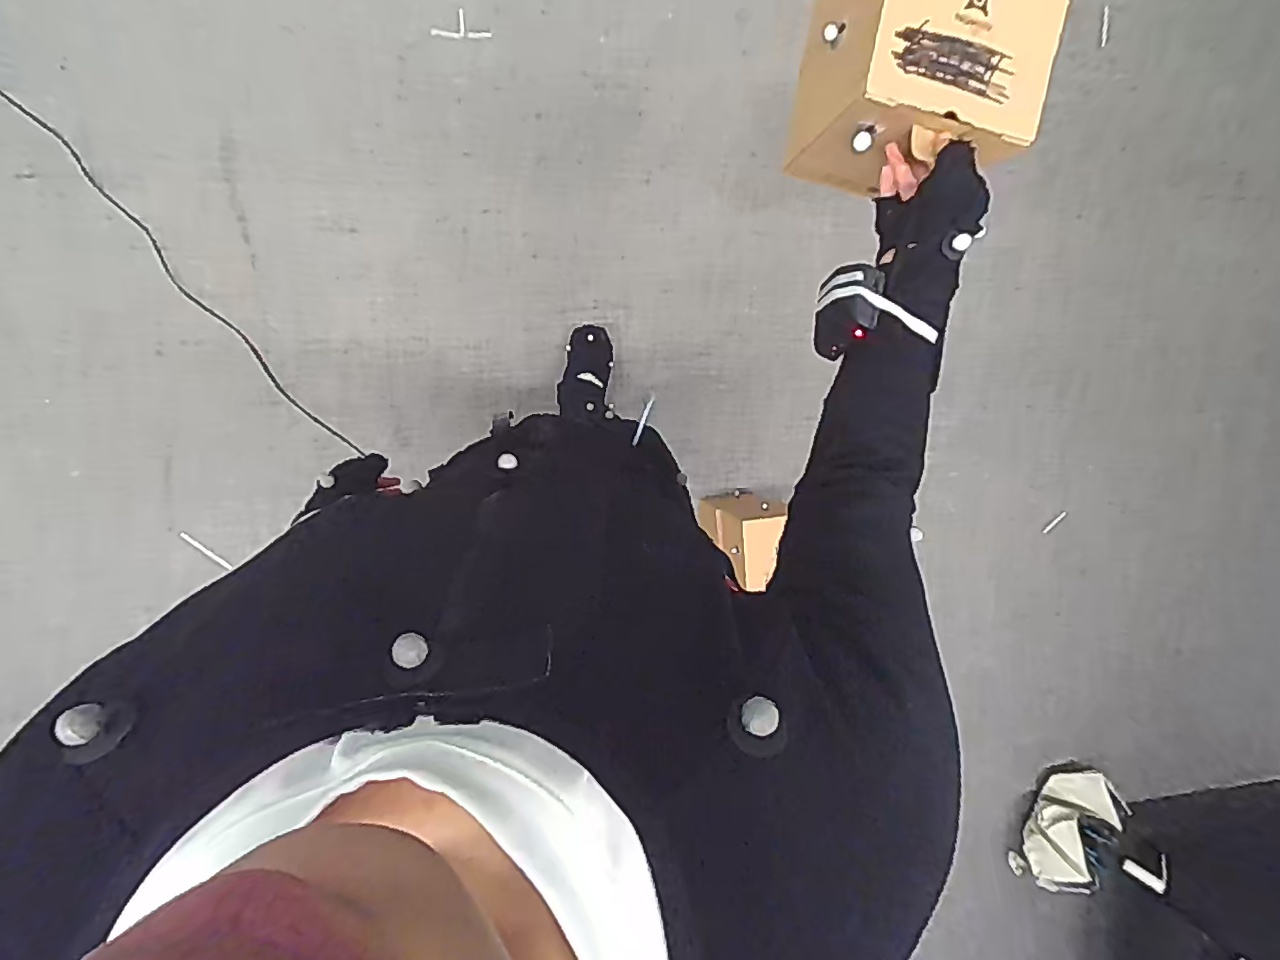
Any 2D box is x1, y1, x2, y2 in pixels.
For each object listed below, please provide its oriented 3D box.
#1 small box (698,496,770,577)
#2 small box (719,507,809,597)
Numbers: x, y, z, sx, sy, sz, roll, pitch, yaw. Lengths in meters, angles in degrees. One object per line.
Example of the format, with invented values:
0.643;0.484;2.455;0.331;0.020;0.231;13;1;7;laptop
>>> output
0.260;0.148;1.472;0.168;0.176;0.179;-6;98;-8;small box
0.295;0.165;1.312;0.168;0.176;0.179;-6;98;-8;small box
